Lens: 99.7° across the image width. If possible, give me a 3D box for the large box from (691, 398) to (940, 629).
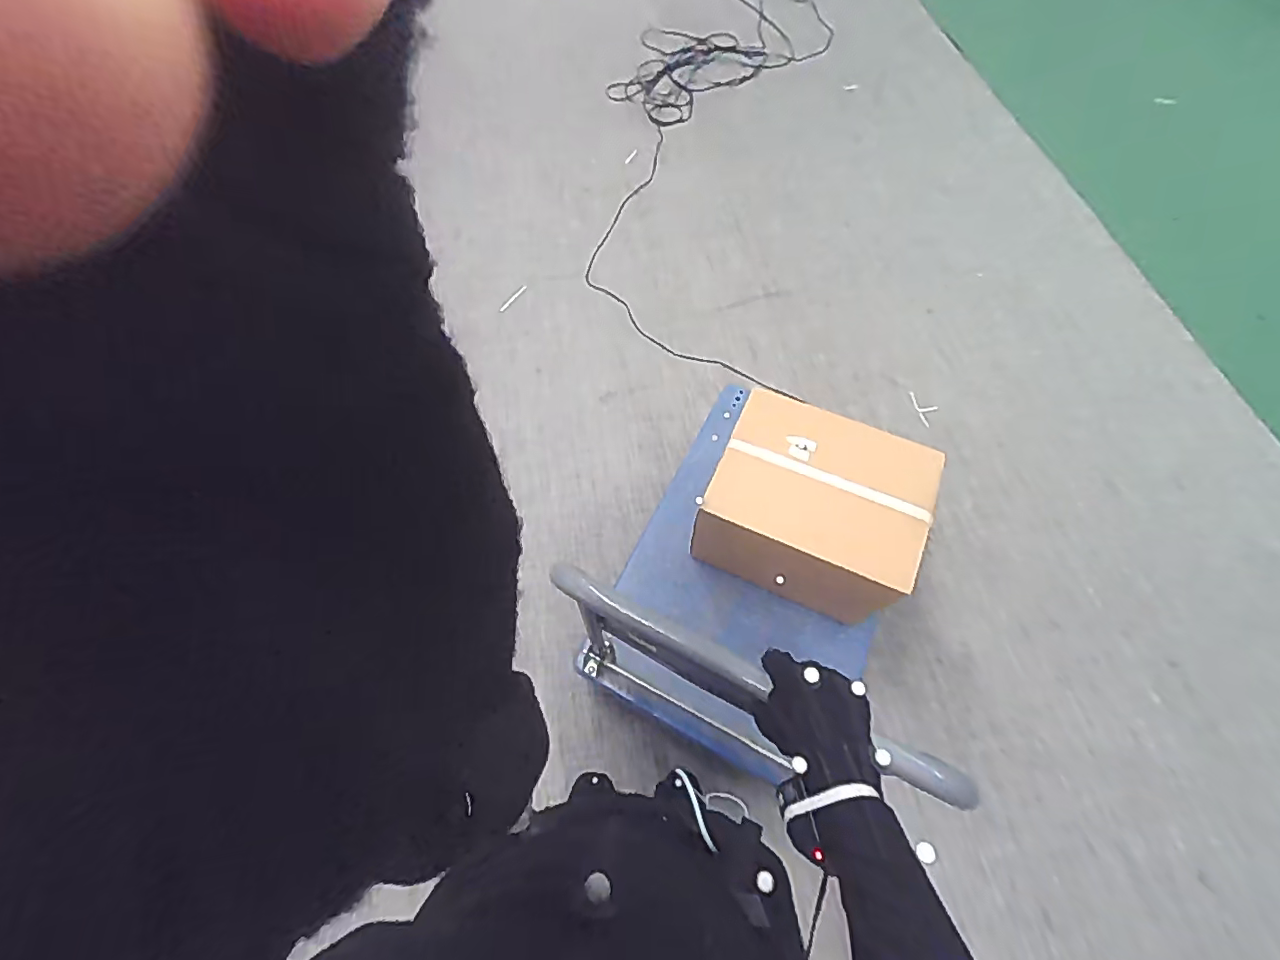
[{"bbox_3d":[0.355,0.083,1.175,0.408,0.320,0.320,22,66,12],"label":"large box"}]
